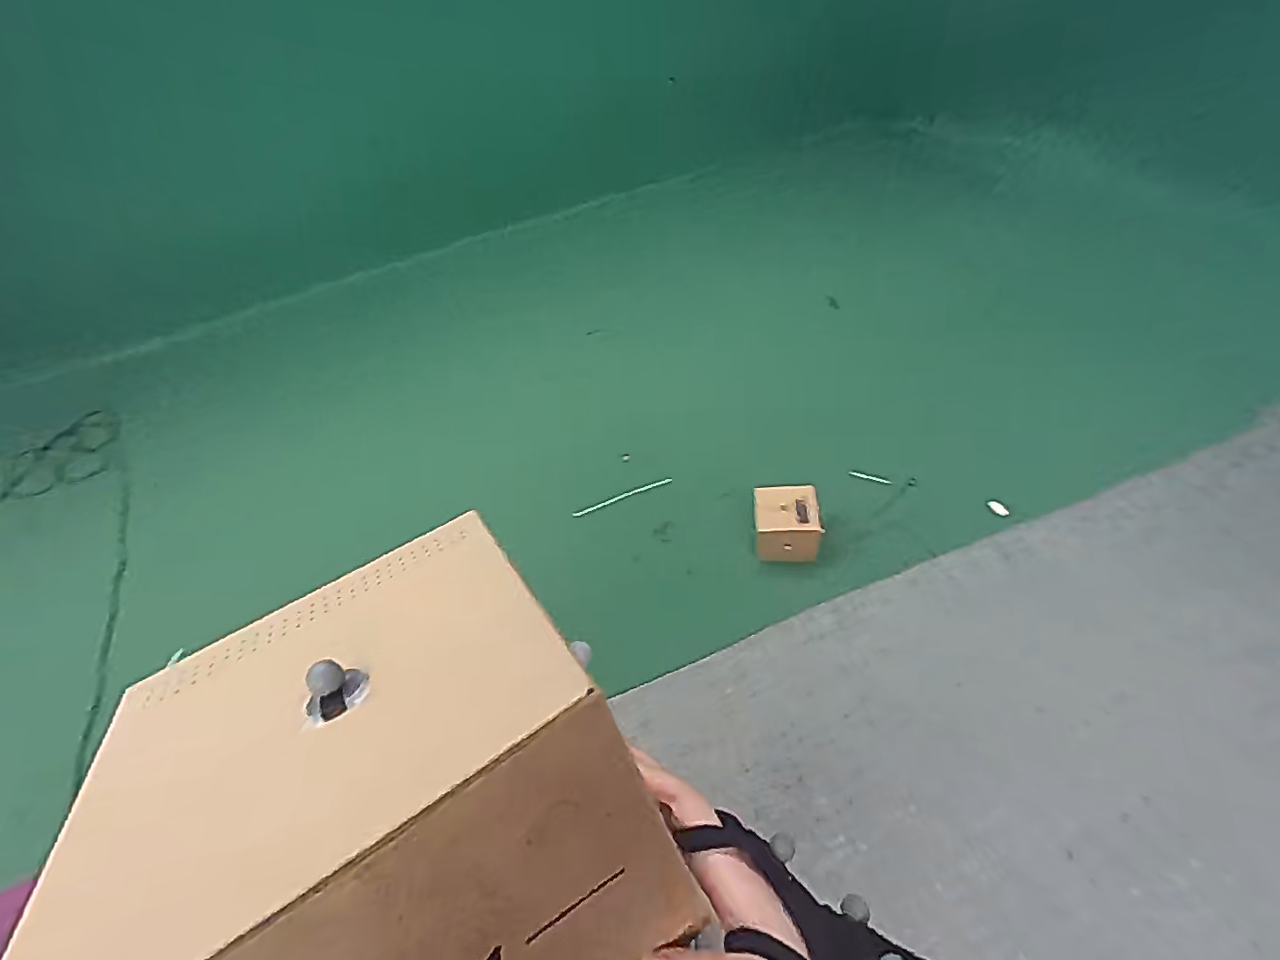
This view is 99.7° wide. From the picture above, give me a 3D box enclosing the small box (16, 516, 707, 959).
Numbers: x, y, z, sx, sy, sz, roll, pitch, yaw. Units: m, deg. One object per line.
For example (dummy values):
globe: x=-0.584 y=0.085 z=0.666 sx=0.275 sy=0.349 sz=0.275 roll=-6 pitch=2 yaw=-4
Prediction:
small box: x=-0.100 y=0.145 z=0.253 sx=0.179 sy=0.168 sz=0.176 roll=-28 pitch=30 yaw=-18
